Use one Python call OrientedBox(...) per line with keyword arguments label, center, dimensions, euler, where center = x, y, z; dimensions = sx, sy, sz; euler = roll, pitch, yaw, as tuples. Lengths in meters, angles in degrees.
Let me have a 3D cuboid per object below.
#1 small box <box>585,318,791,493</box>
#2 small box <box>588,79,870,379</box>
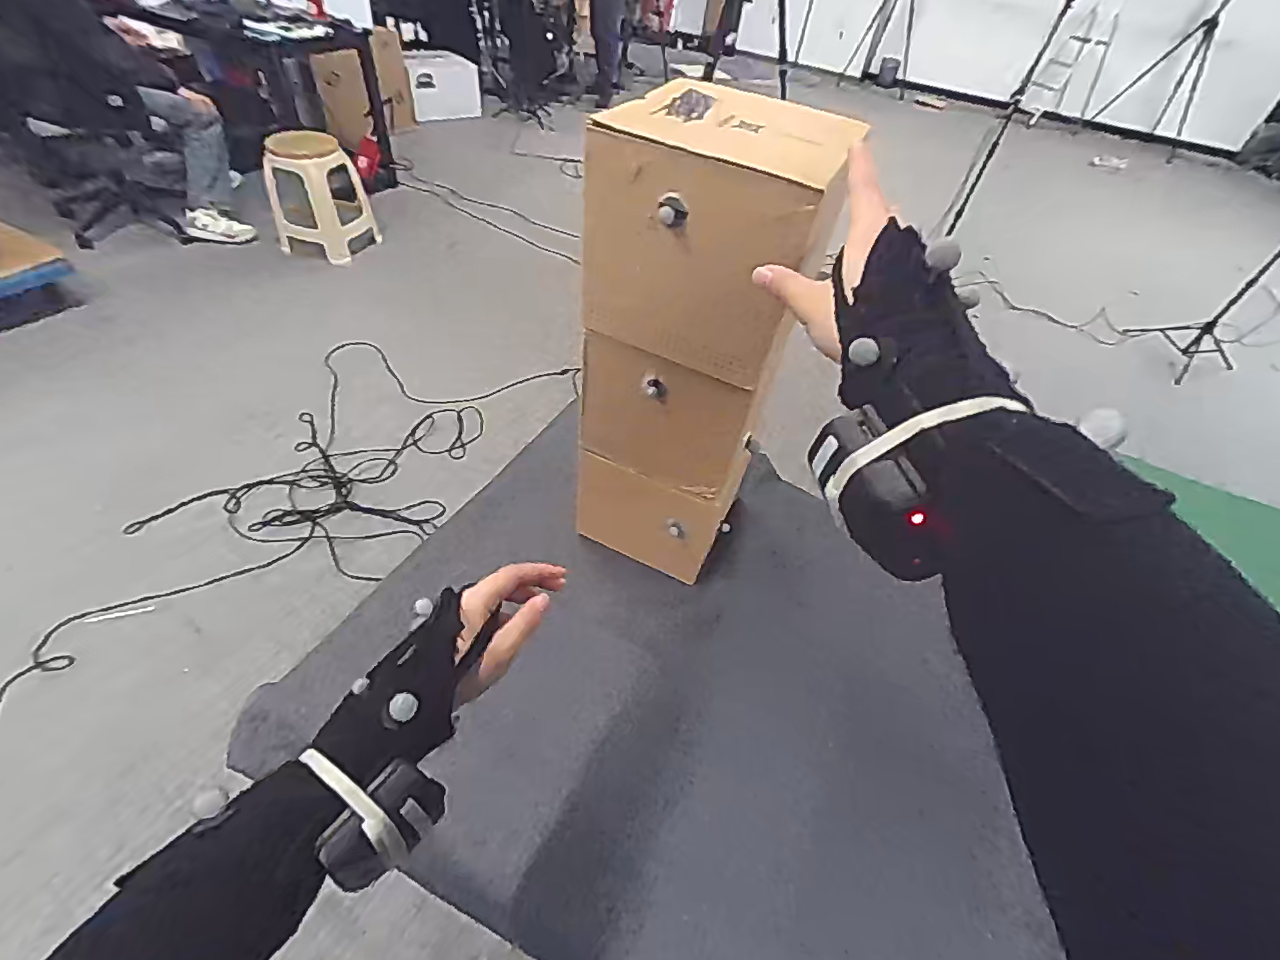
OrientedBox(label="small box", center=(0.050, -0.112, 0.596), dimensions=(0.179, 0.176, 0.168), euler=(23, 51, 11))
OrientedBox(label="small box", center=(0.066, -0.214, 0.467), dimensions=(0.179, 0.176, 0.168), euler=(24, 51, 13))
